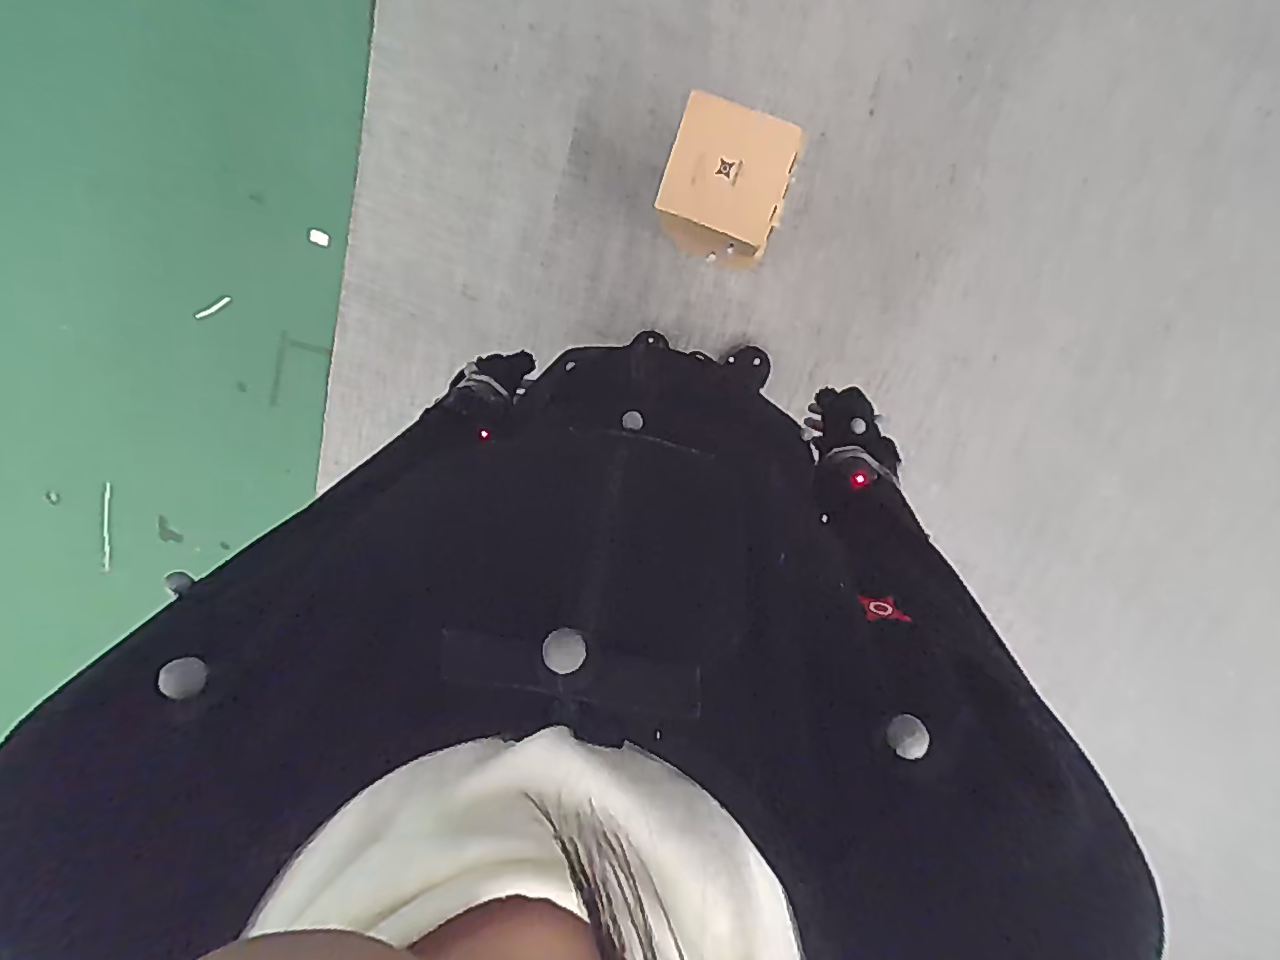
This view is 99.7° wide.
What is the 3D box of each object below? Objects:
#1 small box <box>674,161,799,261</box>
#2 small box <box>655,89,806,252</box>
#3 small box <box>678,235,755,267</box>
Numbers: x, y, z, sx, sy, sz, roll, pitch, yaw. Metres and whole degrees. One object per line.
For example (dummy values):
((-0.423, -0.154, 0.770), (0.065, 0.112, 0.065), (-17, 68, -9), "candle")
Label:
((0.174, -0.524, 1.020), (0.179, 0.176, 0.168), (21, 109, 1), "small box")
((0.140, -0.479, 0.866), (0.179, 0.176, 0.168), (21, 108, 3), "small box")
((0.194, -0.575, 1.171), (0.179, 0.176, 0.168), (23, 107, 0), "small box")
